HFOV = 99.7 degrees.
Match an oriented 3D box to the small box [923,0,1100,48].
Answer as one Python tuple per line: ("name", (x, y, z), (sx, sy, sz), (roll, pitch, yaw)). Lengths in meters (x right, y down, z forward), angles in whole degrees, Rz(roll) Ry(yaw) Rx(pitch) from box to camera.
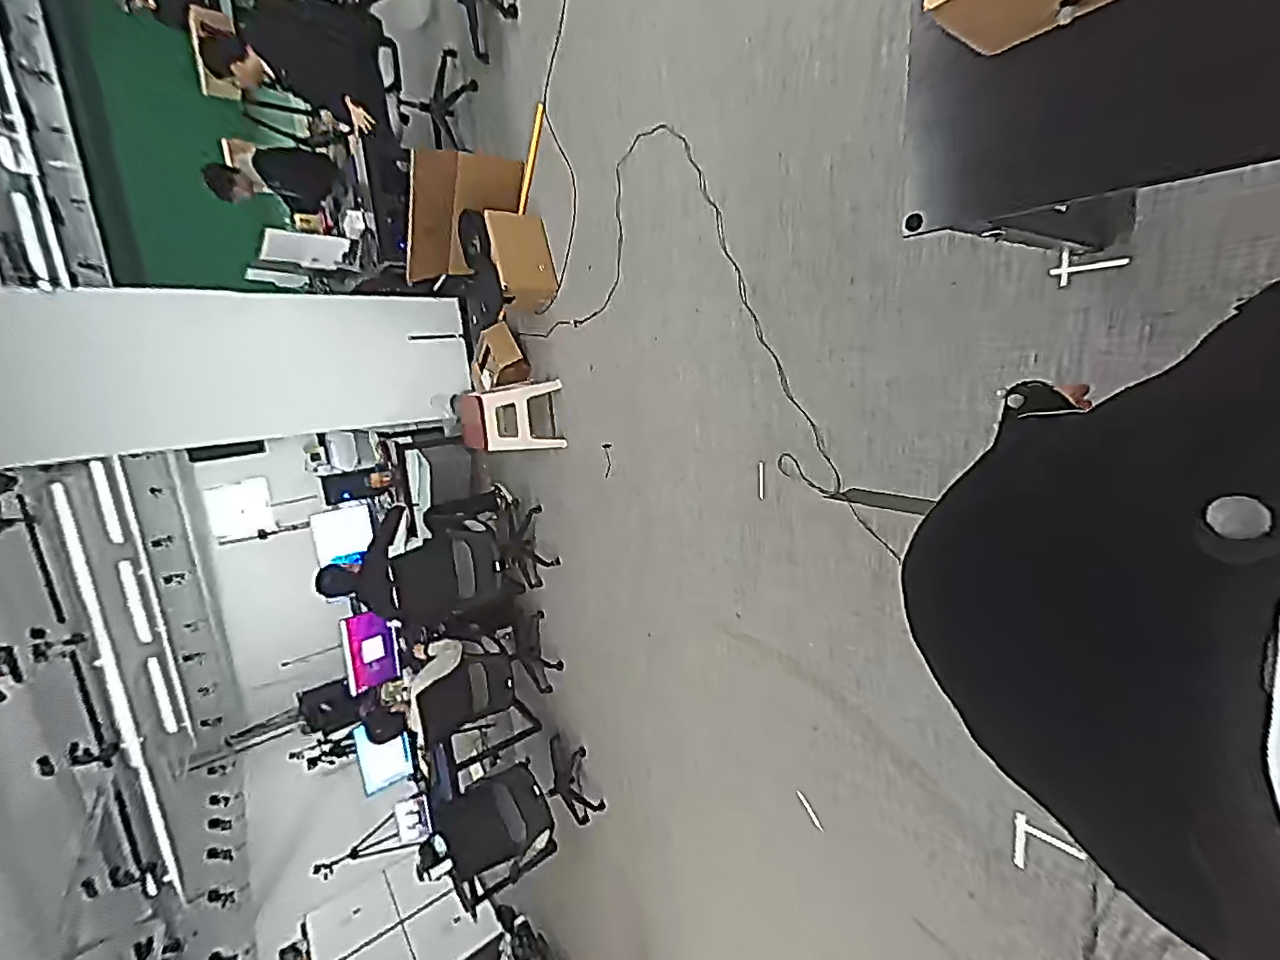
("small box", (0.397, -0.566, 0.516), (0.179, 0.176, 0.168), (8, 107, 50))
